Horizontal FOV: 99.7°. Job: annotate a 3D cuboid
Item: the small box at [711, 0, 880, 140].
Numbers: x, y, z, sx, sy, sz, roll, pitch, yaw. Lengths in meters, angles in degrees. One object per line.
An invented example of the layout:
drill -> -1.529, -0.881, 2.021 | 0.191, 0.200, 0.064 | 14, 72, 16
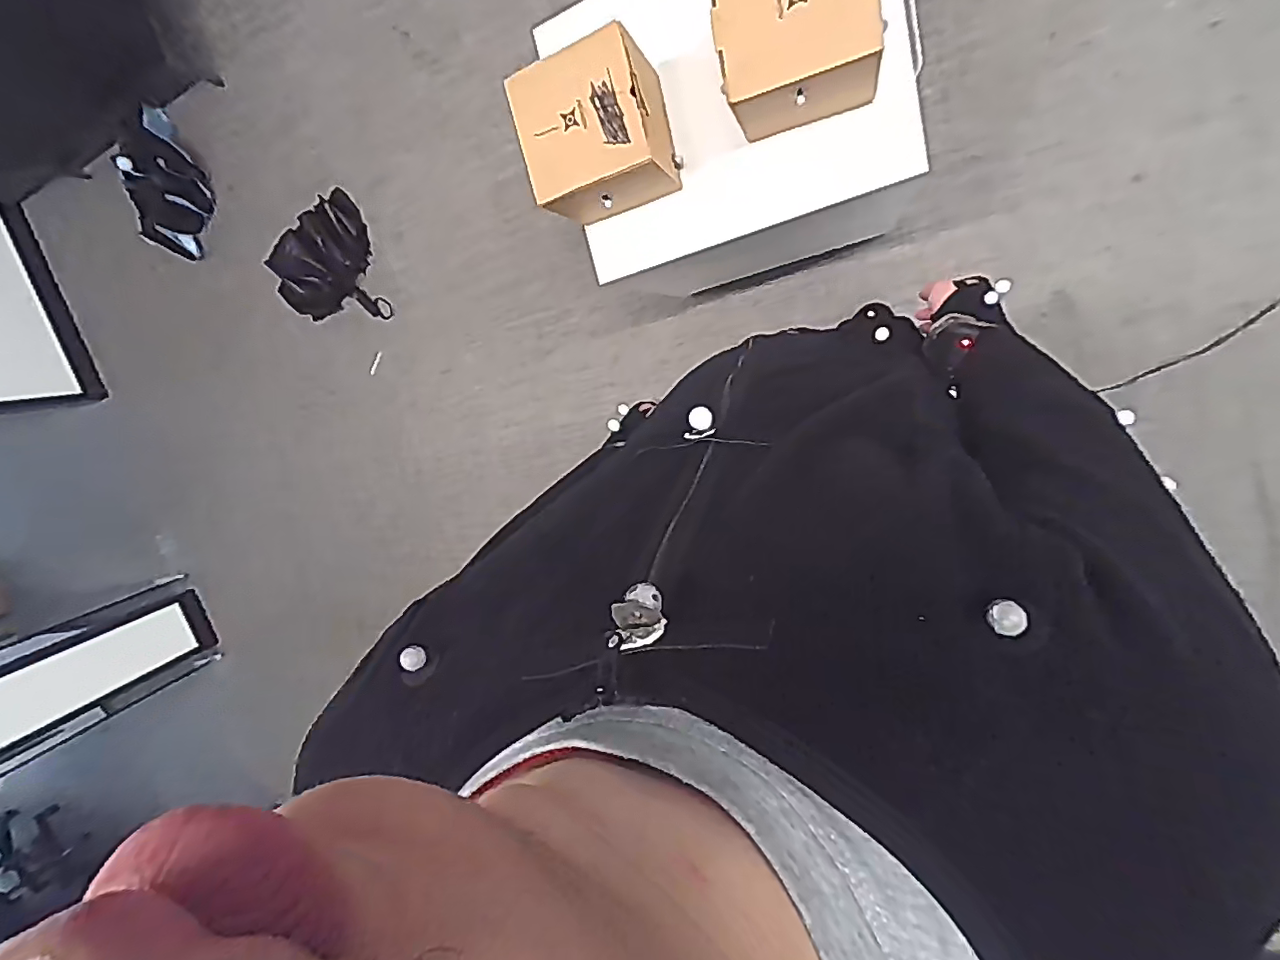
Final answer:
small box -> 0.195, -0.556, 0.675 | 0.179, 0.176, 0.168 | -6, 105, 21

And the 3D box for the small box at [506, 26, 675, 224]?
small box -> -0.057, -0.492, 0.782 | 0.179, 0.176, 0.168 | -10, 101, 22
